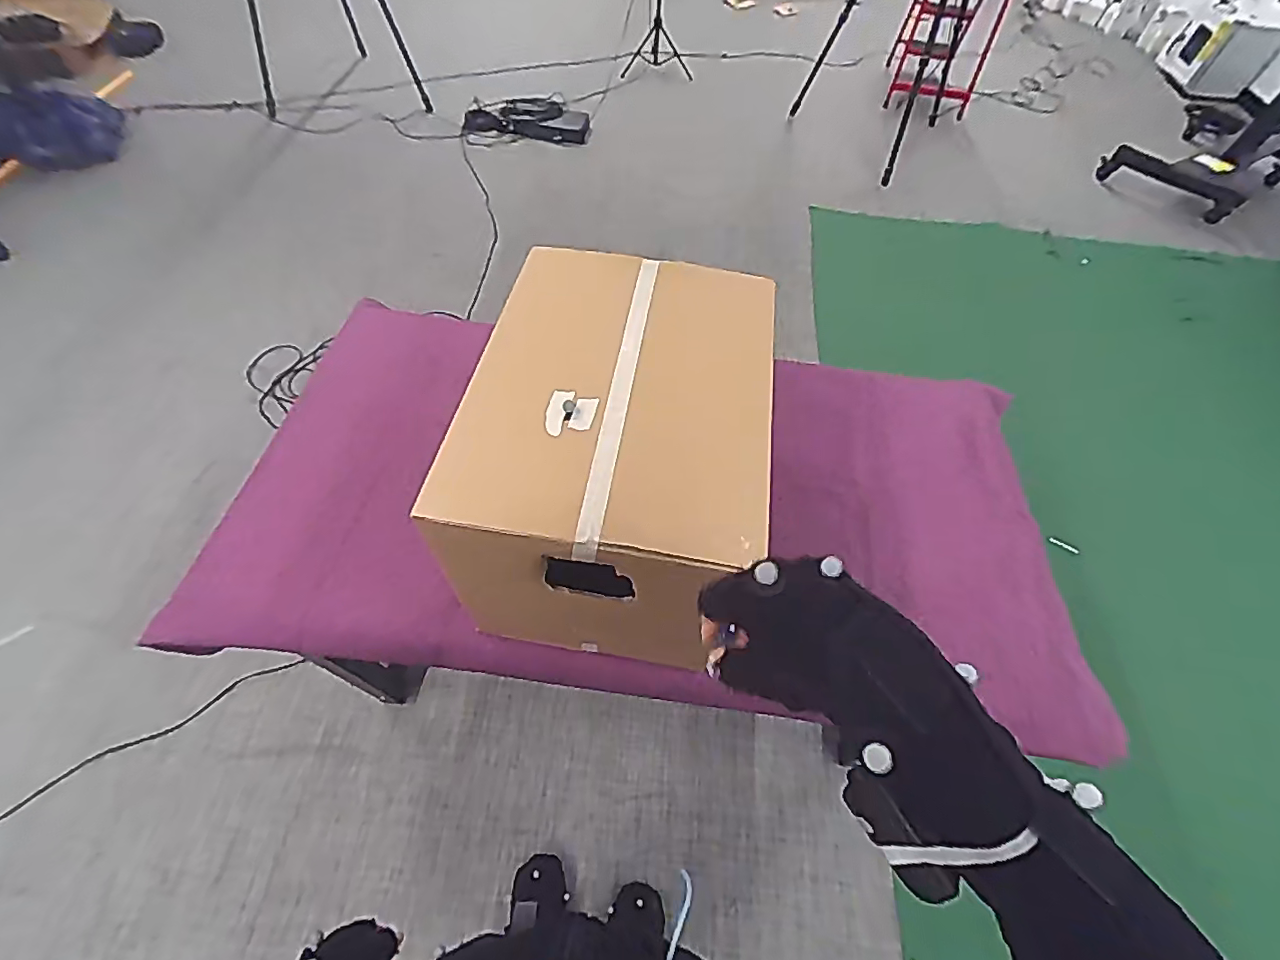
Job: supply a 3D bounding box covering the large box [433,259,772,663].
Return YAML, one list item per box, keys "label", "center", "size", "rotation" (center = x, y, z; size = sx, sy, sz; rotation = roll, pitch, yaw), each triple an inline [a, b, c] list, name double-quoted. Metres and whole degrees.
- label: "large box"
  center: [-0.022, -0.018, 0.716]
  size: [0.320, 0.320, 0.408]
  rotation: [9, 57, 2]
